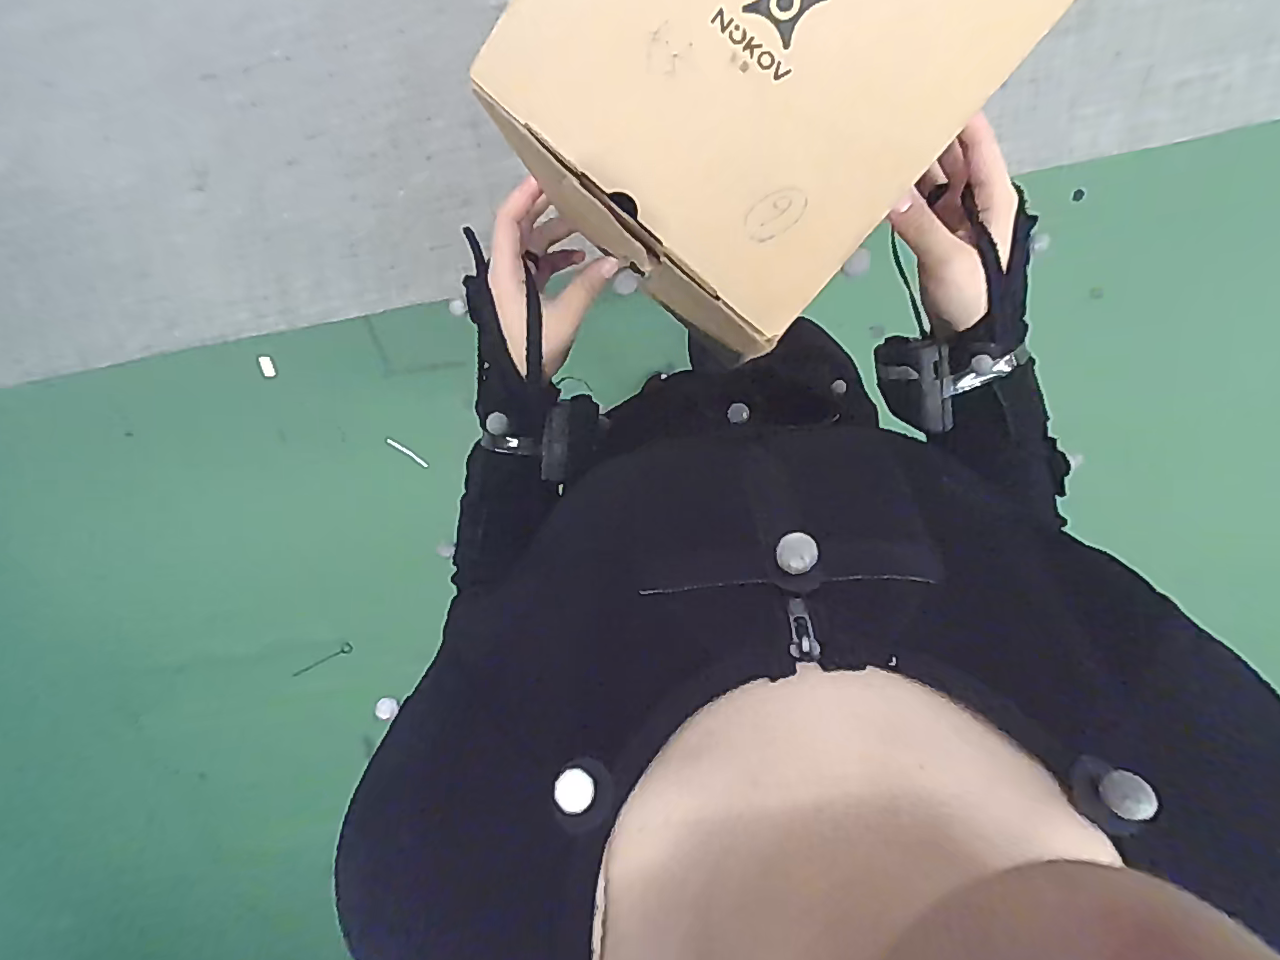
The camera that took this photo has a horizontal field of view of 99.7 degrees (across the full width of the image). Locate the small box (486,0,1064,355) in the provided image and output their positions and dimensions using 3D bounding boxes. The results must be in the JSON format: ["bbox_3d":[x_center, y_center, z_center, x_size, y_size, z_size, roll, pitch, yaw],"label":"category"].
[{"bbox_3d":[0.056,-0.186,0.296,0.168,0.176,0.179,40,100,-2],"label":"small box"}]
